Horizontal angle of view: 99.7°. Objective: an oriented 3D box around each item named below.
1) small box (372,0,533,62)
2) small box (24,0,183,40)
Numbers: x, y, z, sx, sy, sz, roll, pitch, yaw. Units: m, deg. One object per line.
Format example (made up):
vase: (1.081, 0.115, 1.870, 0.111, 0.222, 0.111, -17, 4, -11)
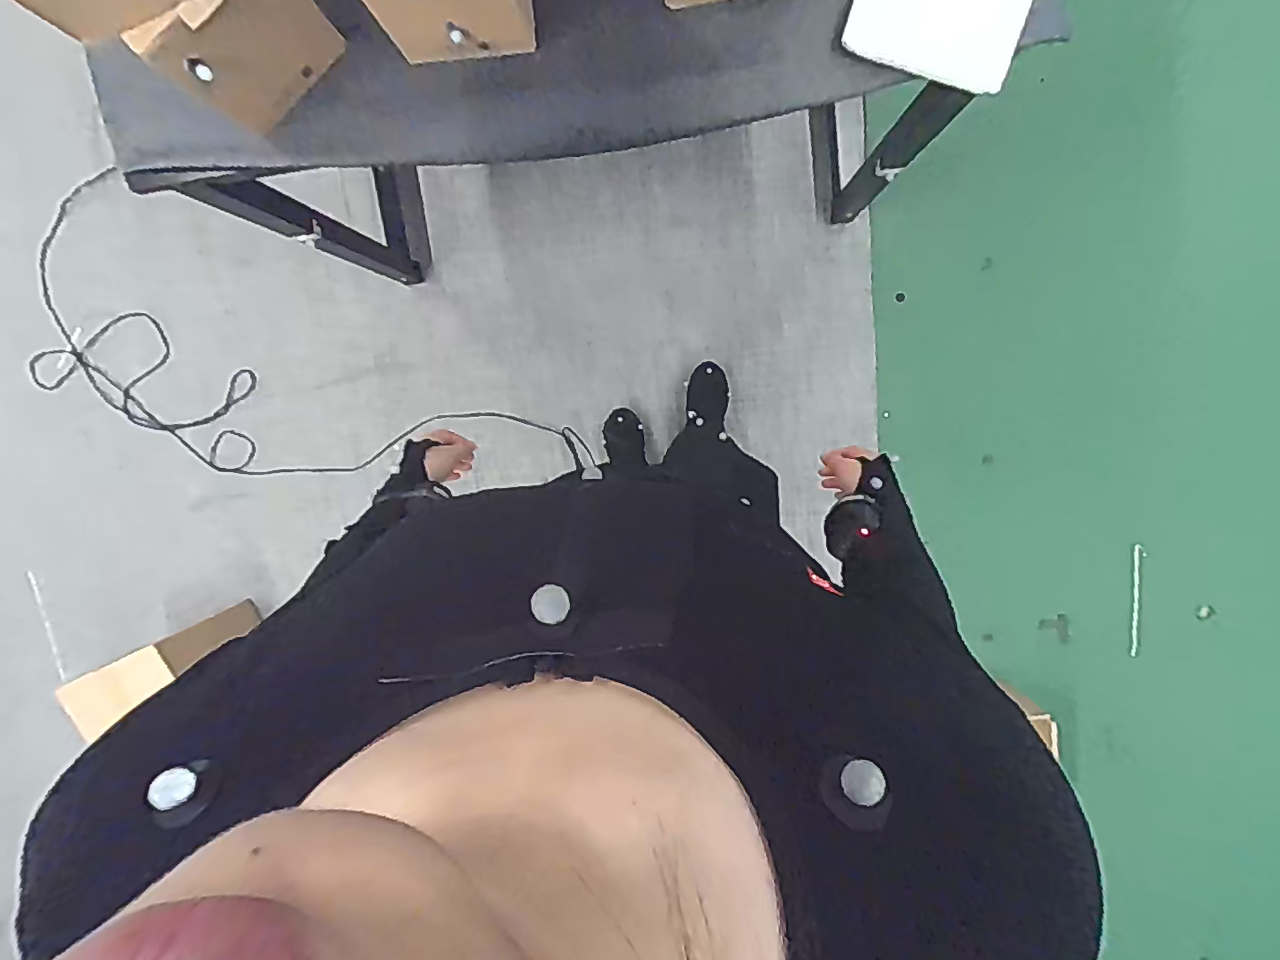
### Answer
small box: (-0.222, -0.607, 0.588, 0.168, 0.176, 0.179, -3, 98, 5)
small box: (-0.511, -0.529, 0.453, 0.179, 0.176, 0.168, -20, 96, 7)
